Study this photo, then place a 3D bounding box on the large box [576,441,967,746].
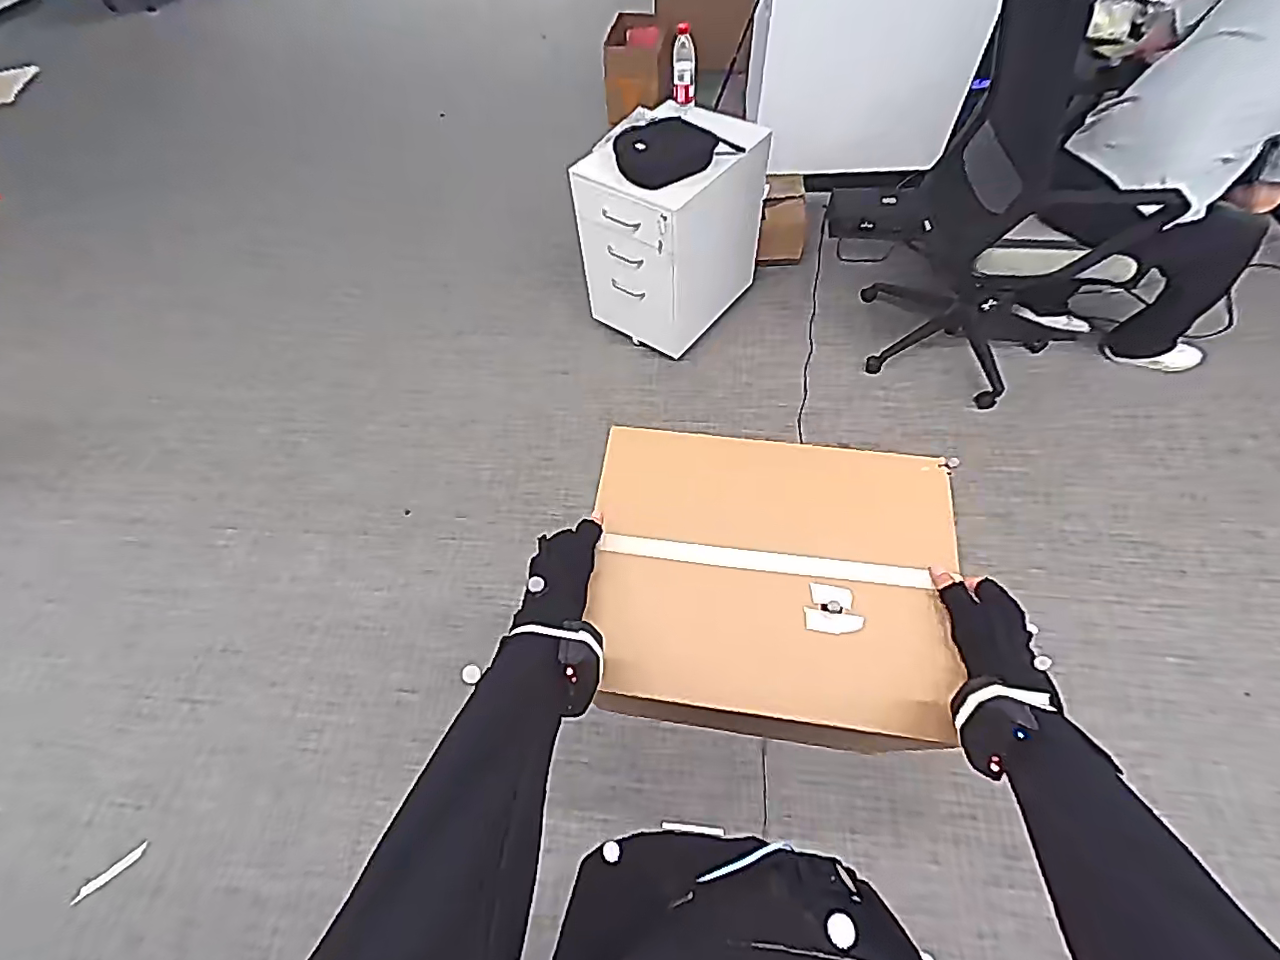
[{"bbox_3d":[0.149,0.170,0.747,0.408,0.320,0.320,6,64,5],"label":"large box"}]
